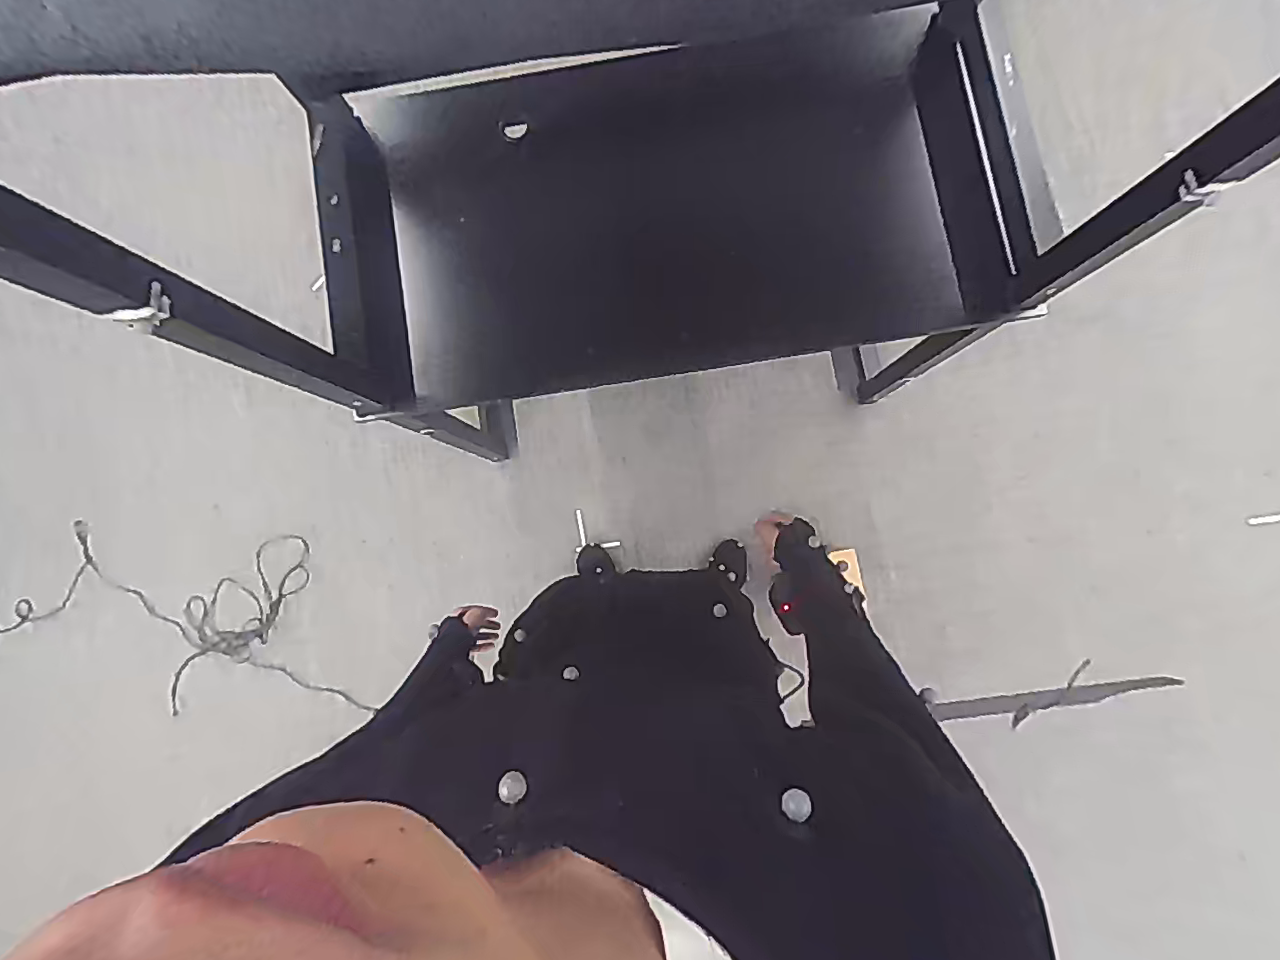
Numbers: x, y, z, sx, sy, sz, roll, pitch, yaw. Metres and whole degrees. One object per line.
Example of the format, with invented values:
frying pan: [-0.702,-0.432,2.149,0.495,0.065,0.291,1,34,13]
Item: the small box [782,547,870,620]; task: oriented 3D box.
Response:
small box: [0.513,0.282,1.513,0.179,0.176,0.168,-11,84,3]
